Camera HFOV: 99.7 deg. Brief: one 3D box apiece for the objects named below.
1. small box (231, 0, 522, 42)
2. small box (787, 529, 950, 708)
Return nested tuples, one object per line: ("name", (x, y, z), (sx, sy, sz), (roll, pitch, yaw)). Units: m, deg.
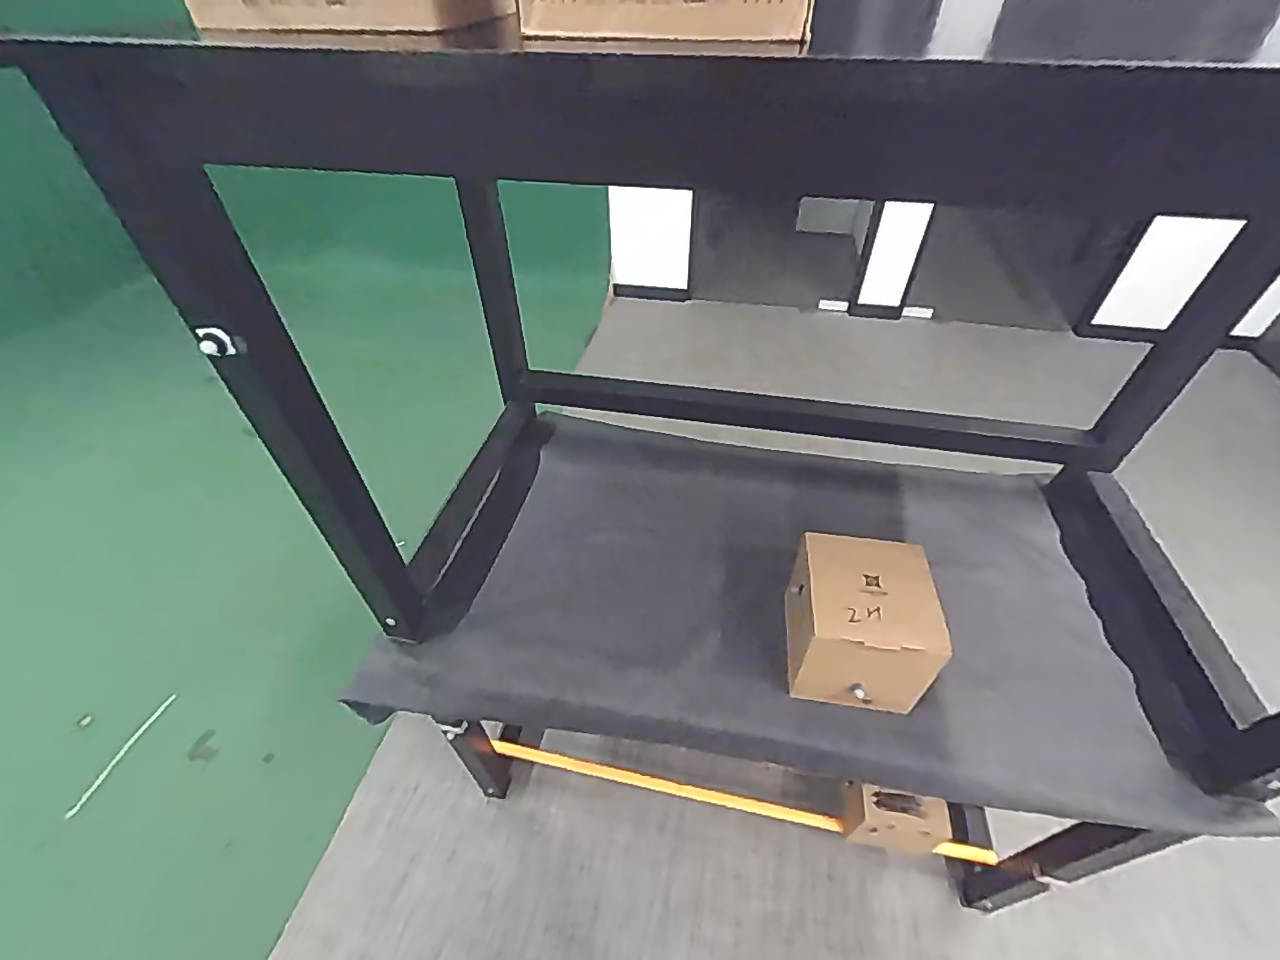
("small box", (-0.185, -0.406, 0.359), (0.168, 0.176, 0.179), (6, 43, 4))
("small box", (0.312, 0.199, 0.783), (0.168, 0.176, 0.179), (6, 43, 7))
